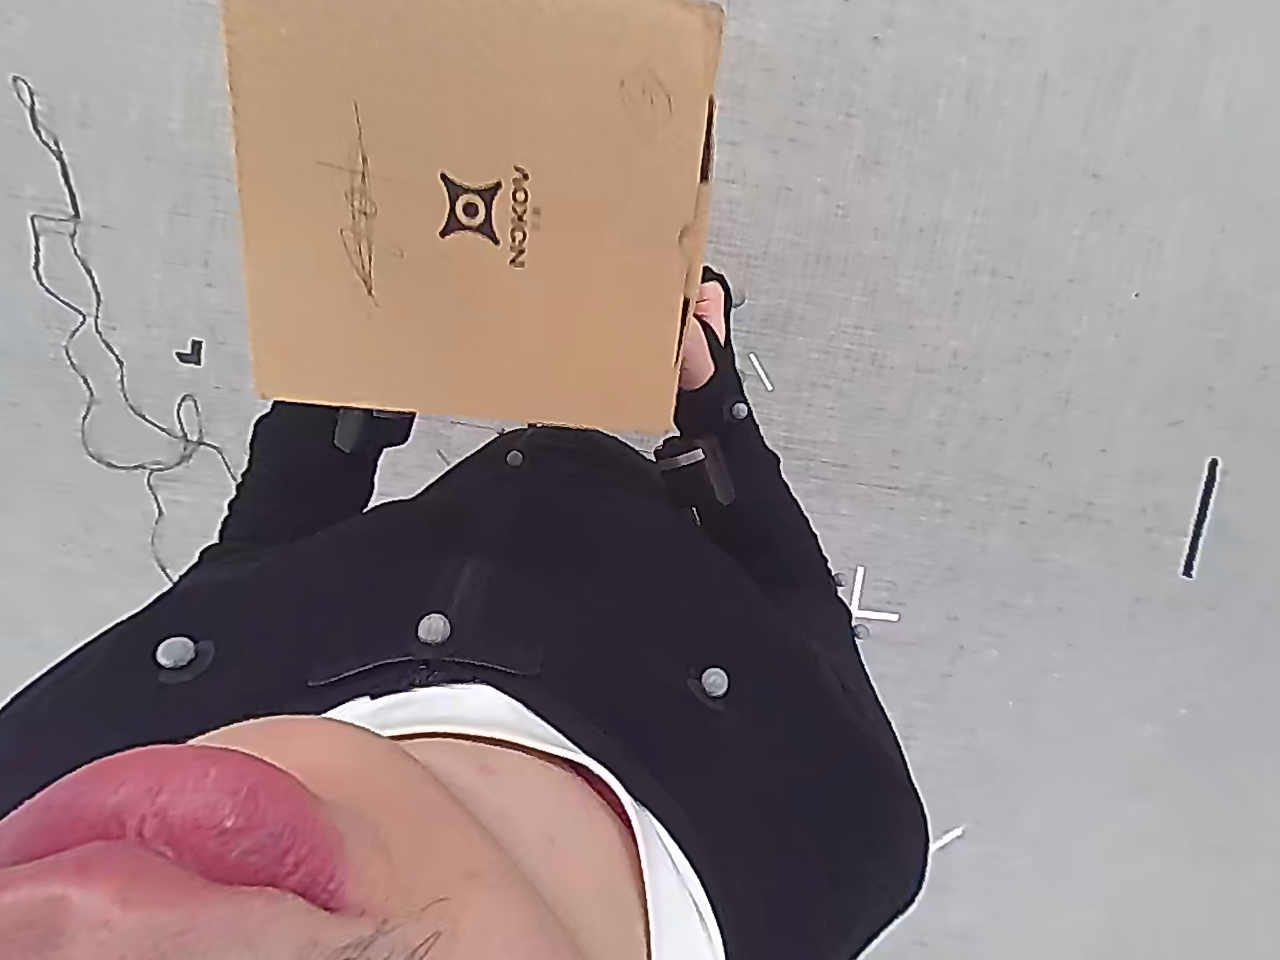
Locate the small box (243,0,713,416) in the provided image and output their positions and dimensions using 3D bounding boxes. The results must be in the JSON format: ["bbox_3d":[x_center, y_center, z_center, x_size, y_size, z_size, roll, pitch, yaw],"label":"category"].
[{"bbox_3d":[-0.074,-0.135,0.299,0.179,0.176,0.168,4,104,-8],"label":"small box"}]
